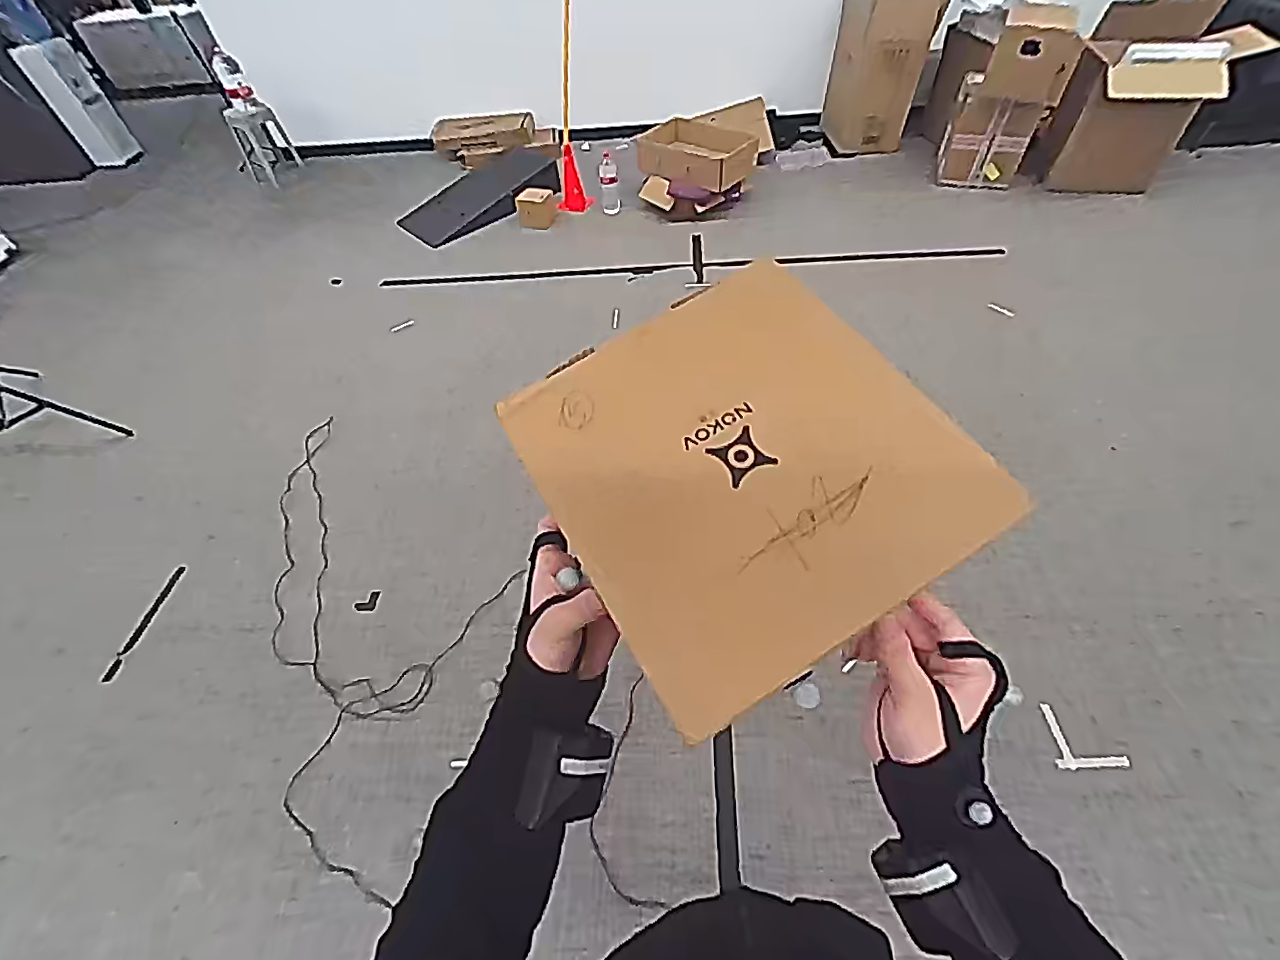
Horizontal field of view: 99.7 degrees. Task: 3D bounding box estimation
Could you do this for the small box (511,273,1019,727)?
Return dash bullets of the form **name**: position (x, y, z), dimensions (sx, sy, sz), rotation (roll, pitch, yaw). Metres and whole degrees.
- **small box**: position (0.054, 0.025, 0.319), dimensions (0.168, 0.176, 0.179), rotation (-32, 66, -8)
